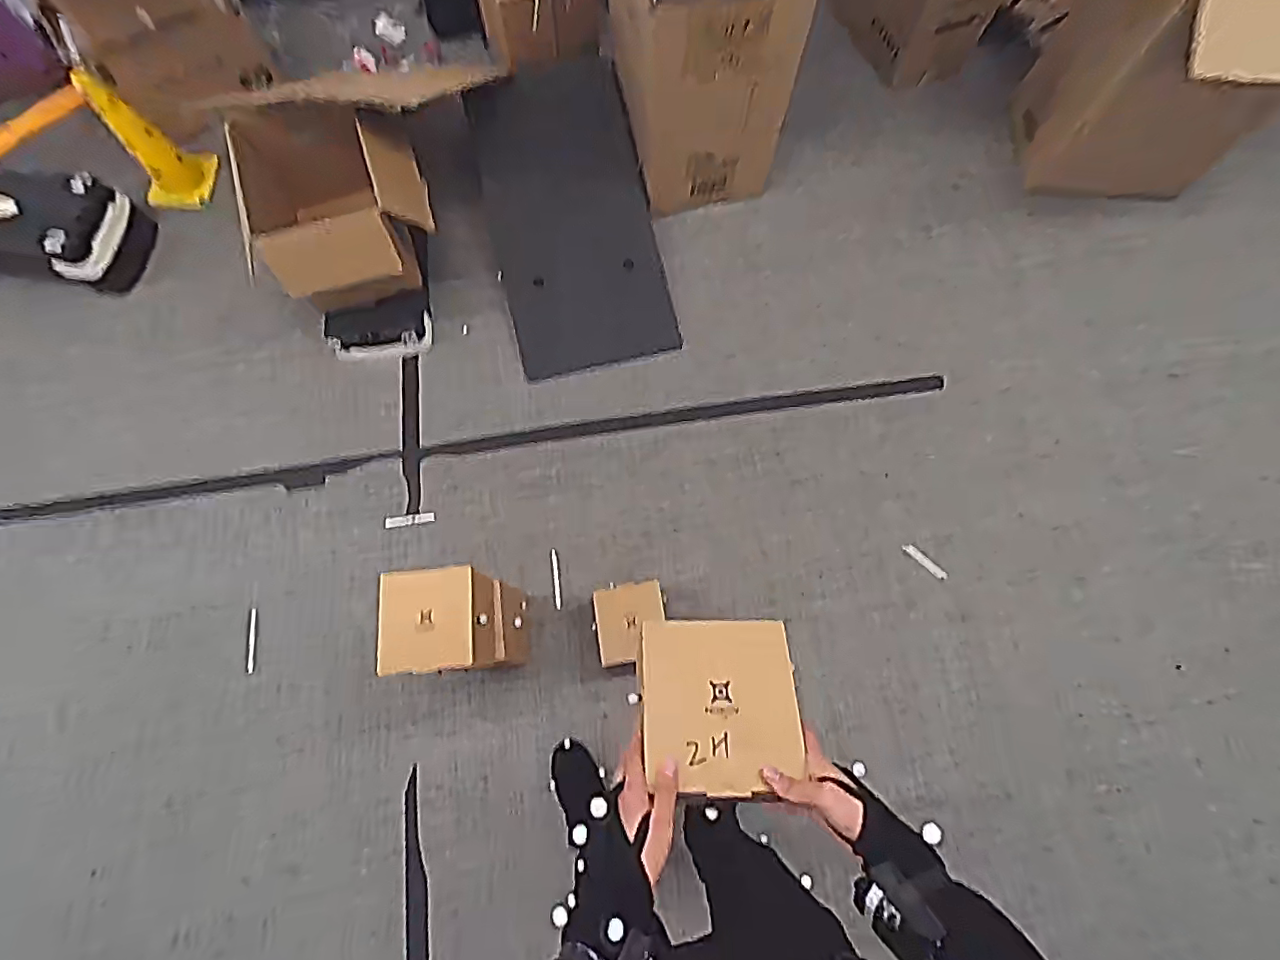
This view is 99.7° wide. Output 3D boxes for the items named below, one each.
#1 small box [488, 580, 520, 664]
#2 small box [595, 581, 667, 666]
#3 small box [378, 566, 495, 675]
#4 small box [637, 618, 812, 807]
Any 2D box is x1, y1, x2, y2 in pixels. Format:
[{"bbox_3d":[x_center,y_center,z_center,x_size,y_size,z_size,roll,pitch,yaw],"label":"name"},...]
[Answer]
[{"bbox_3d":[-0.369,0.320,1.183,0.179,0.176,0.168,-7,74,-4],"label":"small box"},{"bbox_3d":[-0.018,0.358,1.349,0.168,0.176,0.179,-9,75,-2],"label":"small box"},{"bbox_3d":[-0.378,0.269,1.029,0.168,0.176,0.179,-5,74,-3],"label":"small box"},{"bbox_3d":[0.082,0.275,0.632,0.168,0.176,0.179,0,56,-2],"label":"small box"}]
